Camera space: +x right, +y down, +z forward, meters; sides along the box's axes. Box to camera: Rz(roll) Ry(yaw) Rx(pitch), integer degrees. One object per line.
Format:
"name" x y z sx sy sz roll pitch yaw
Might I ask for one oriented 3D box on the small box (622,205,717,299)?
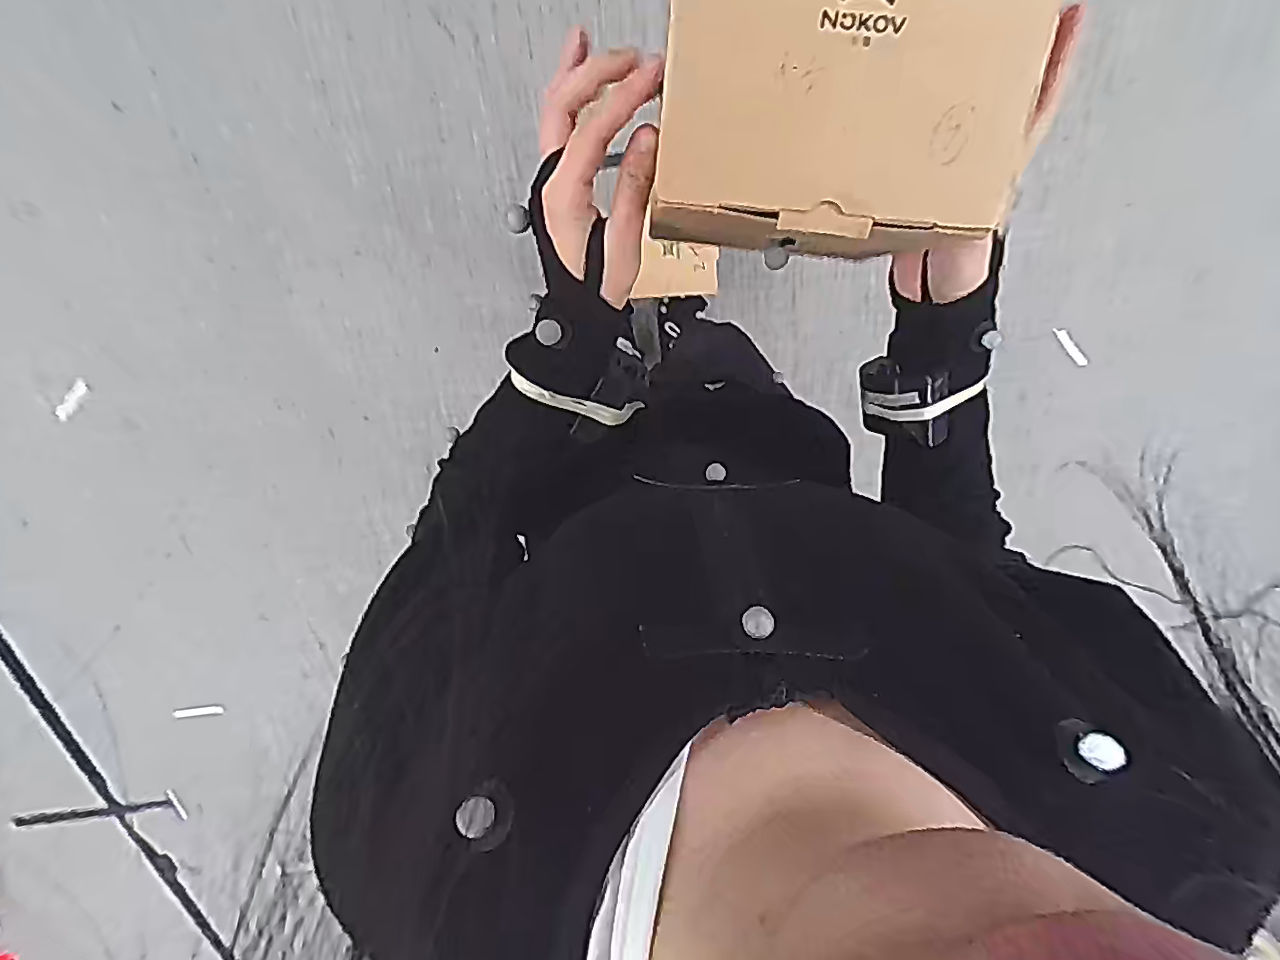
"small box" 0.054 -0.459 1.089 0.179 0.176 0.168 -4 115 -3

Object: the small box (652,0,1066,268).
"small box" 0.098 -0.223 0.307 0.168 0.176 0.179 6 107 -2
